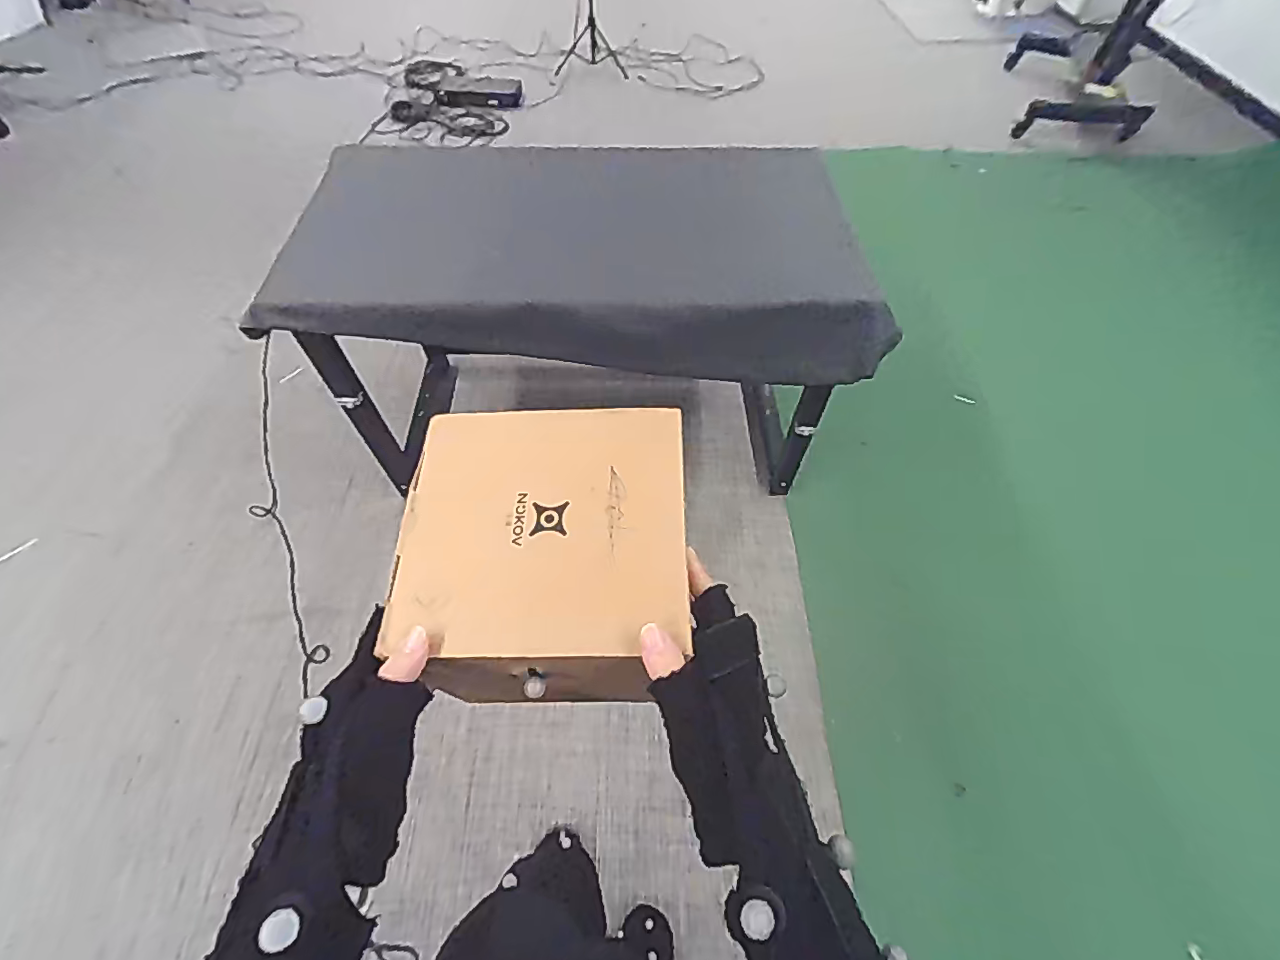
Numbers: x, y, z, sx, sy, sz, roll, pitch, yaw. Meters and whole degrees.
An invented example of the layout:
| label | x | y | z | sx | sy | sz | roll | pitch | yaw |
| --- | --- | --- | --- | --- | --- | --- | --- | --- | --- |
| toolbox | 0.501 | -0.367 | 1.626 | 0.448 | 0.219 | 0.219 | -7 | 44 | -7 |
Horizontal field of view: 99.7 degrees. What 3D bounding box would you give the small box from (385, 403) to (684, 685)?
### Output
| label | x | y | z | sx | sy | sz | roll | pitch | yaw |
| --- | --- | --- | --- | --- | --- | --- | --- | --- | --- |
| small box | -0.058 | 0.058 | 0.415 | 0.179 | 0.176 | 0.168 | -1 | 60 | 1 |
